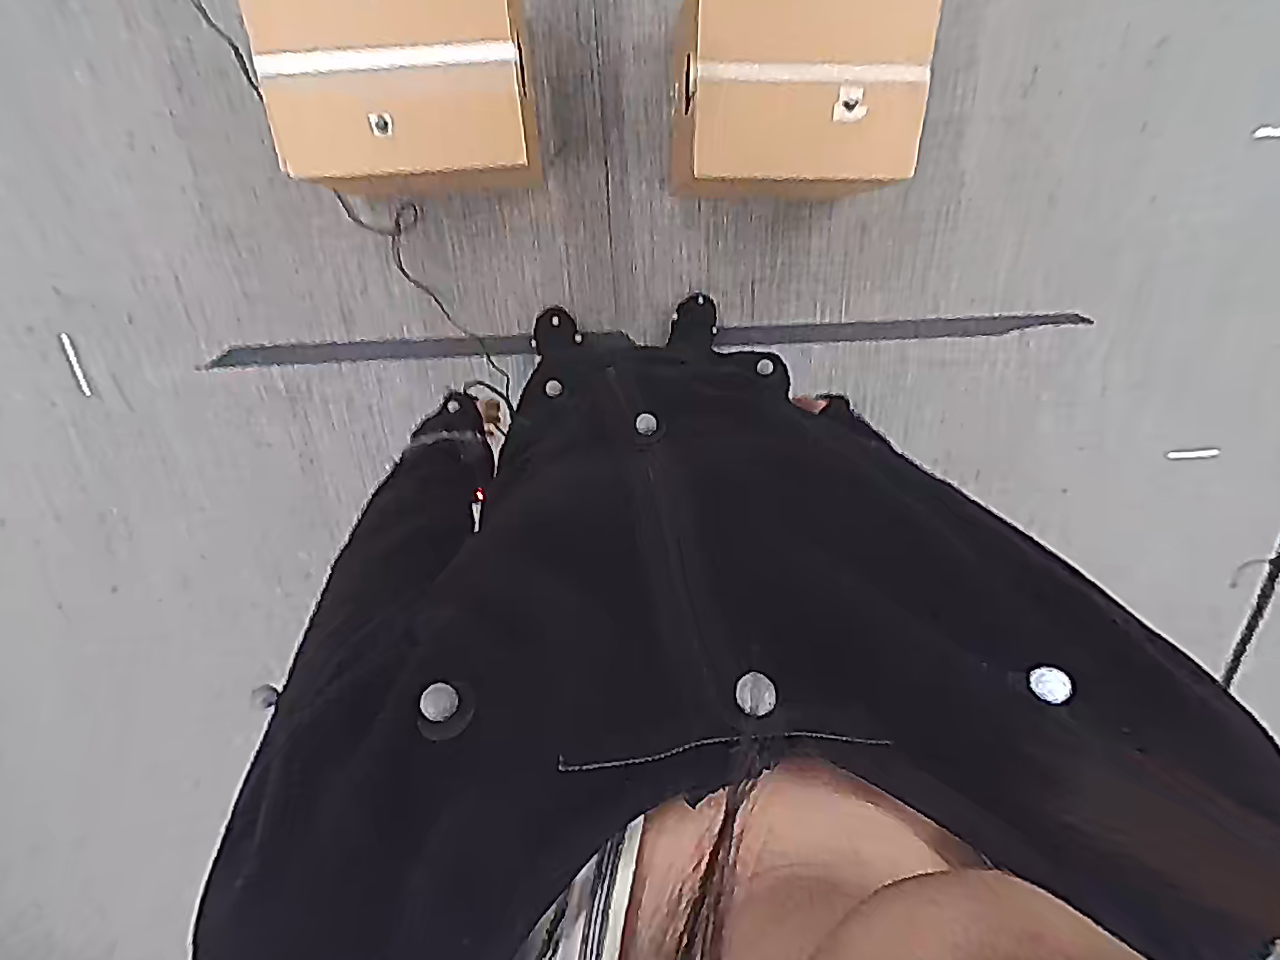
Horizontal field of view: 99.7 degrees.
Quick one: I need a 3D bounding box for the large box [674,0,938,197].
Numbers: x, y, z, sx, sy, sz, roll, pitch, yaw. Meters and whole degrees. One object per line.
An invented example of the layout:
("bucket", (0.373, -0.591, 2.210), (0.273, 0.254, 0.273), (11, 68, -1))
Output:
("large box", (0.282, -0.745, 1.052), (0.408, 0.320, 0.320), (-1, 112, -5))
